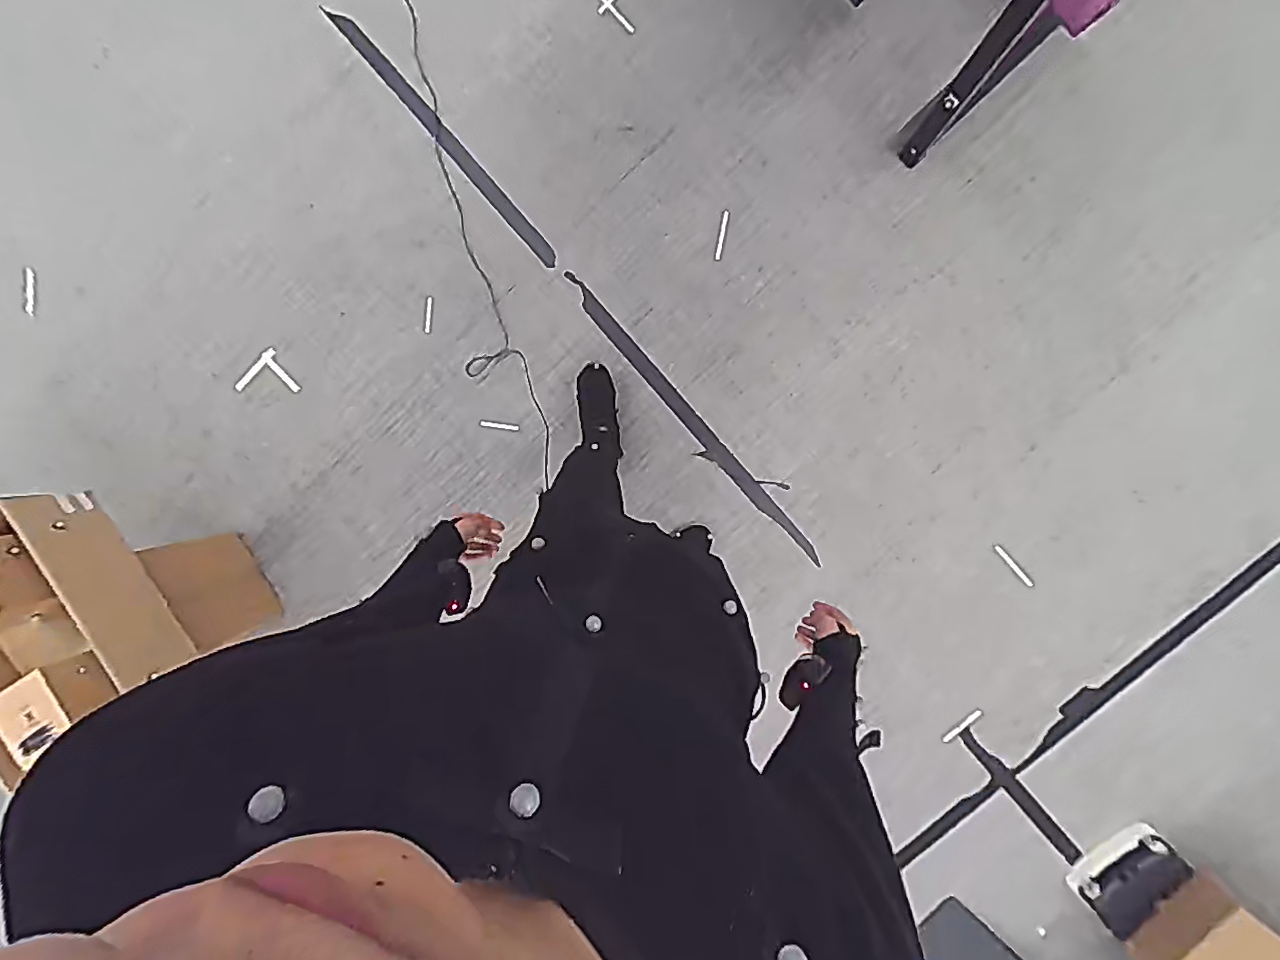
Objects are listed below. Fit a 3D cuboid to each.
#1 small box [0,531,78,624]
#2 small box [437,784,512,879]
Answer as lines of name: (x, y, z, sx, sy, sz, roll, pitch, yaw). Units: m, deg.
small box: (-1.462, 0.229, 1.227, 0.168, 0.176, 0.179, -28, 91, 6)
small box: (-0.489, 1.040, 1.614, 0.168, 0.176, 0.179, 2, 91, 5)
